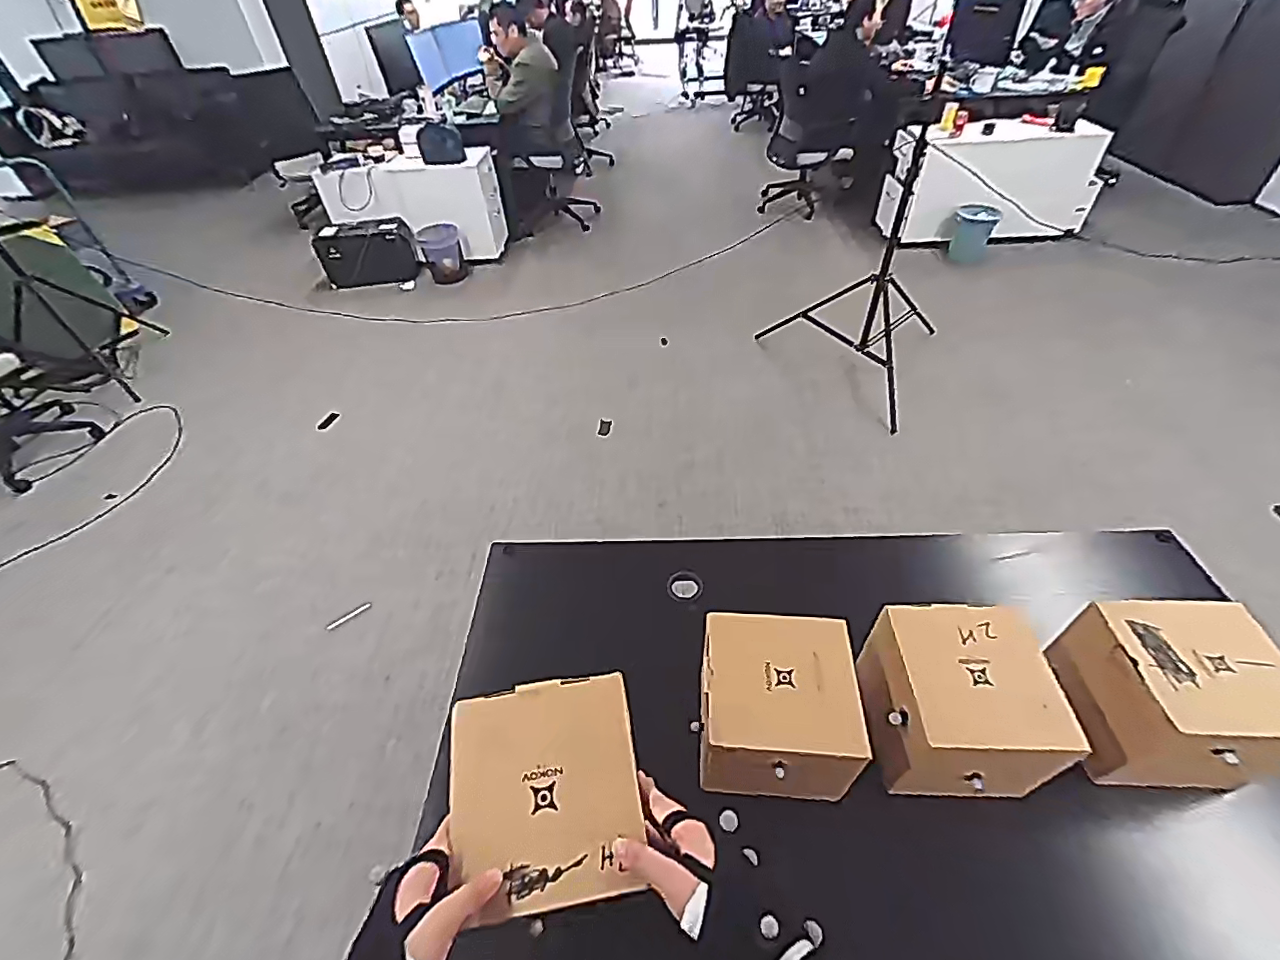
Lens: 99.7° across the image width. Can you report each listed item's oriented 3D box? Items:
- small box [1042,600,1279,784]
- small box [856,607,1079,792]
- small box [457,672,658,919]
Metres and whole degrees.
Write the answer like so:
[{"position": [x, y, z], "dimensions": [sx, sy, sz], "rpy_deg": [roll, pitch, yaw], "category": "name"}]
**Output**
[{"position": [0.655, 0.269, 0.685], "dimensions": [0.179, 0.176, 0.168], "rpy_deg": [0, 45, 4], "category": "small box"}, {"position": [0.395, 0.282, 0.692], "dimensions": [0.168, 0.176, 0.179], "rpy_deg": [0, 45, 4], "category": "small box"}, {"position": [-0.078, 0.318, 0.550], "dimensions": [0.168, 0.176, 0.179], "rpy_deg": [-9, 55, -4], "category": "small box"}]
